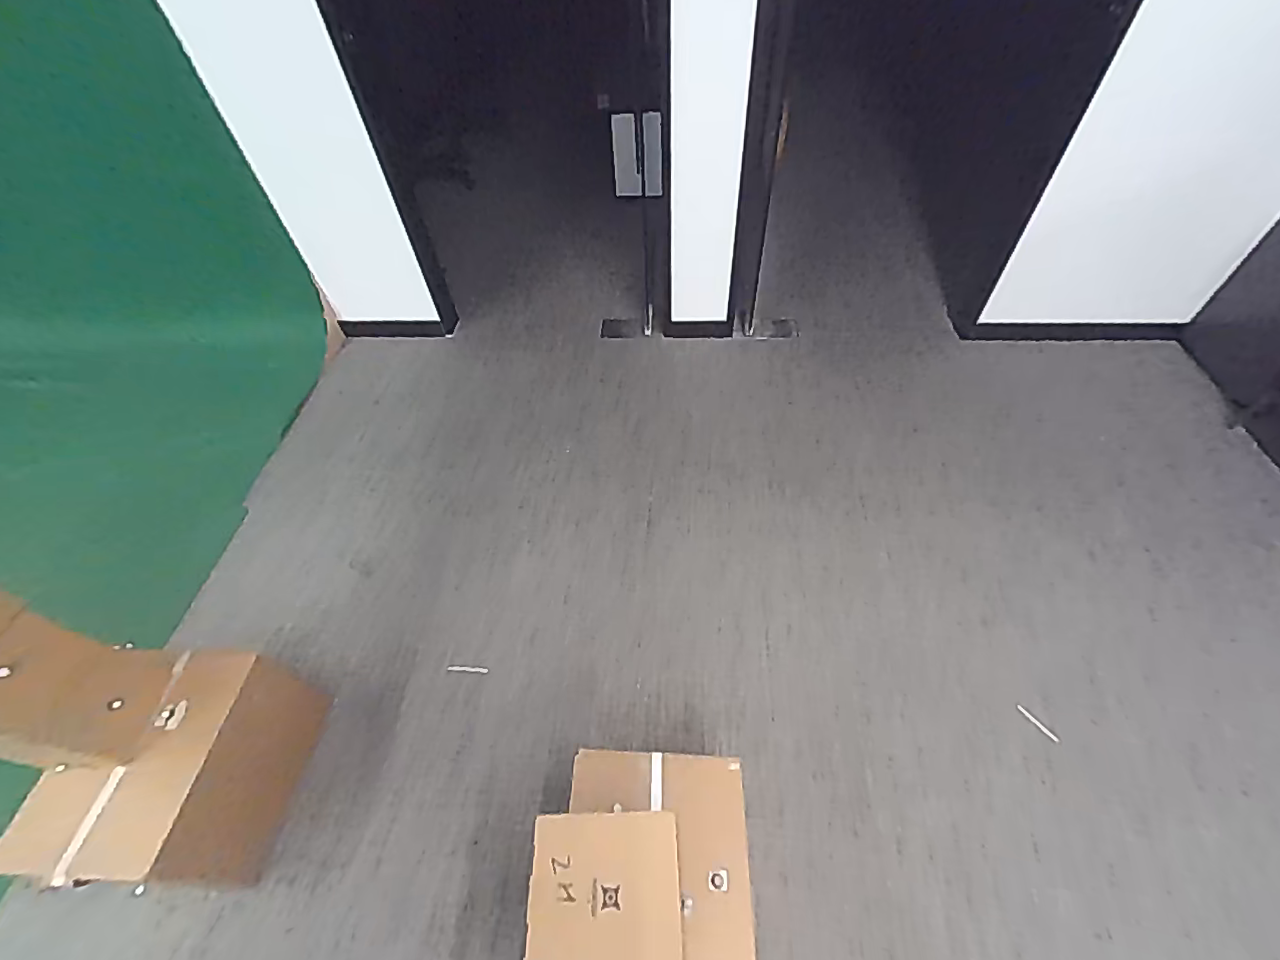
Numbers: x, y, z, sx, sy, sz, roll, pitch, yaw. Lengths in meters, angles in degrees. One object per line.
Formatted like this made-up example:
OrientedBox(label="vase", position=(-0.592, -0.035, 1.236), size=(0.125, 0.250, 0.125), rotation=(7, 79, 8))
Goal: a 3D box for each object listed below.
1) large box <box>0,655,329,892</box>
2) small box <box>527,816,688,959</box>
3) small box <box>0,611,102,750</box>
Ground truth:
OrientedBox(label="large box", position=(-0.968, 0.634, 1.174), size=(0.320, 0.320, 0.408), rotation=(0, 50, 4))
OrientedBox(label="small box", position=(-0.032, 0.527, 0.676), size=(0.179, 0.176, 0.168), rotation=(-4, 50, 3))
OrientedBox(label="small box", position=(-1.074, 0.334, 0.900), size=(0.168, 0.176, 0.179), rotation=(-2, 52, 6))
